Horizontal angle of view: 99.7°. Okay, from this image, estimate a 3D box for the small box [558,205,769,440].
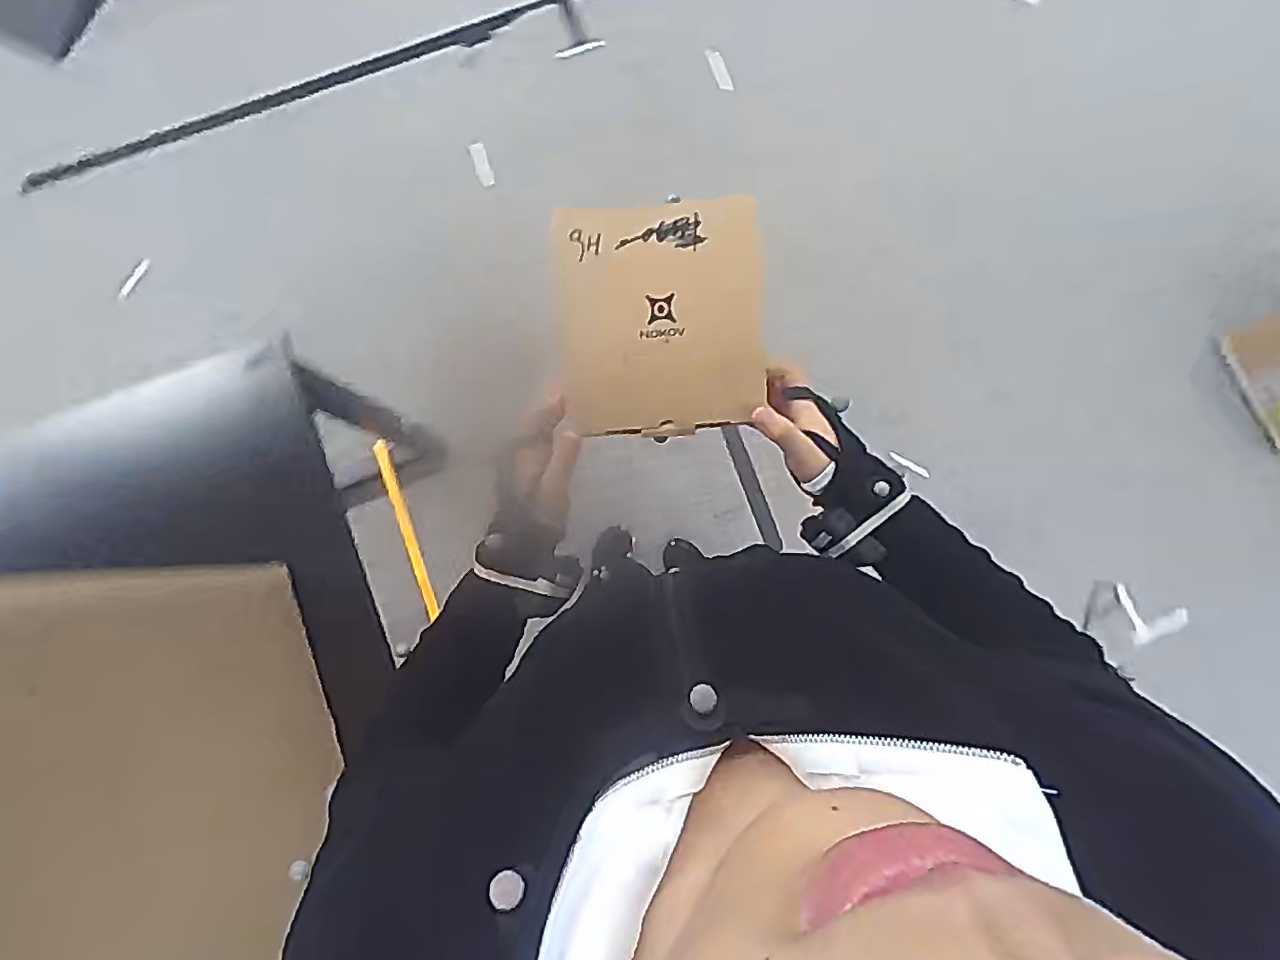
[{"bbox_3d":[0.022,-0.136,0.510,0.168,0.176,0.179,-4,98,0],"label":"small box"}]
